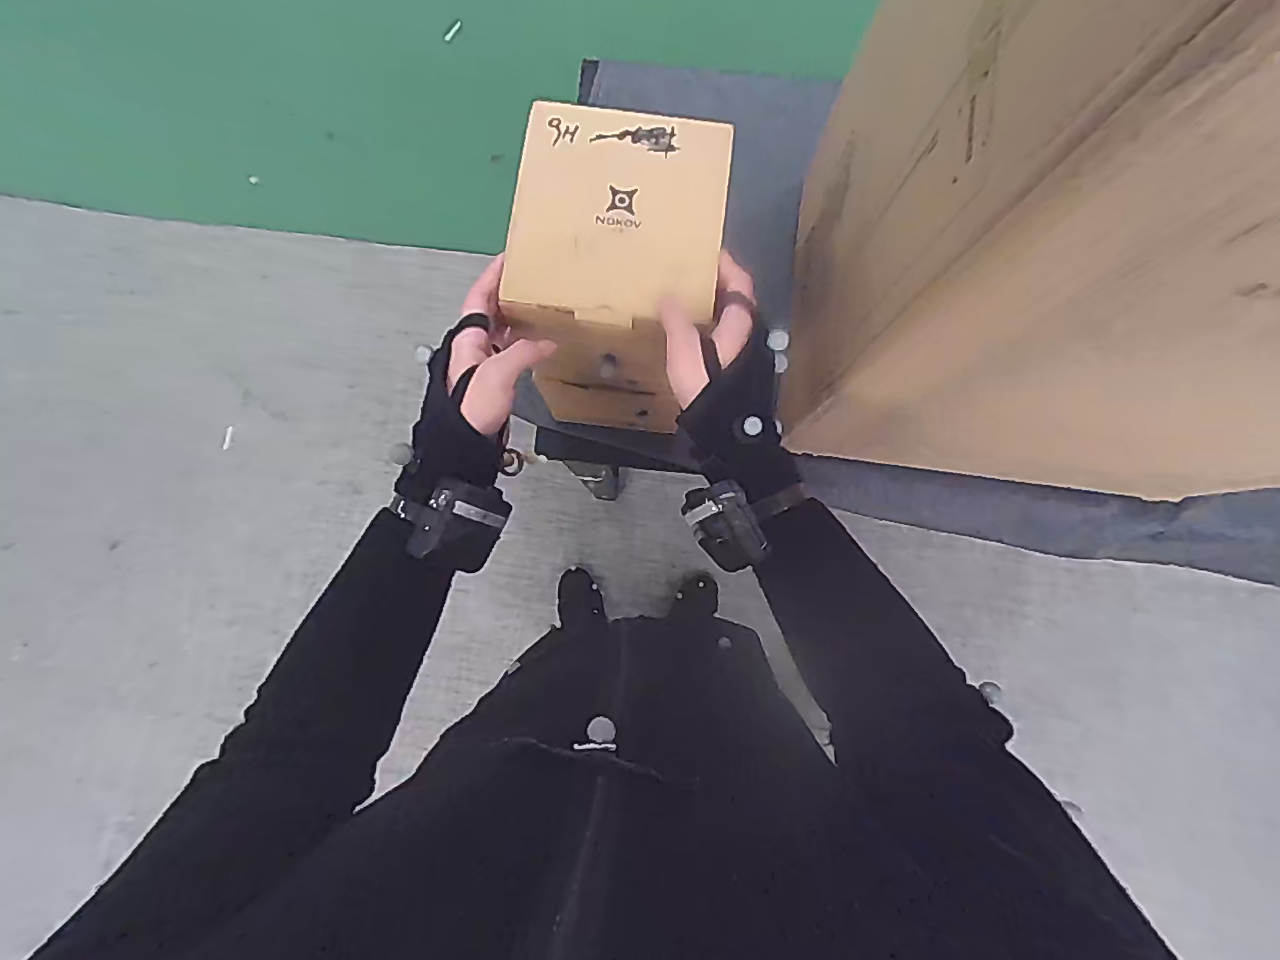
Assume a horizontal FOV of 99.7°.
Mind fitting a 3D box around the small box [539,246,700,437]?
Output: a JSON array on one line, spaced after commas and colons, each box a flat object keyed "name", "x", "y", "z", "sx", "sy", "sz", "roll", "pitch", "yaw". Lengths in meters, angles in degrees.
[{"name": "small box", "x": -0.021, "y": -0.159, "z": 0.675, "sx": 0.168, "sy": 0.176, "sz": 0.179, "roll": 5, "pitch": 79, "yaw": 0}]
